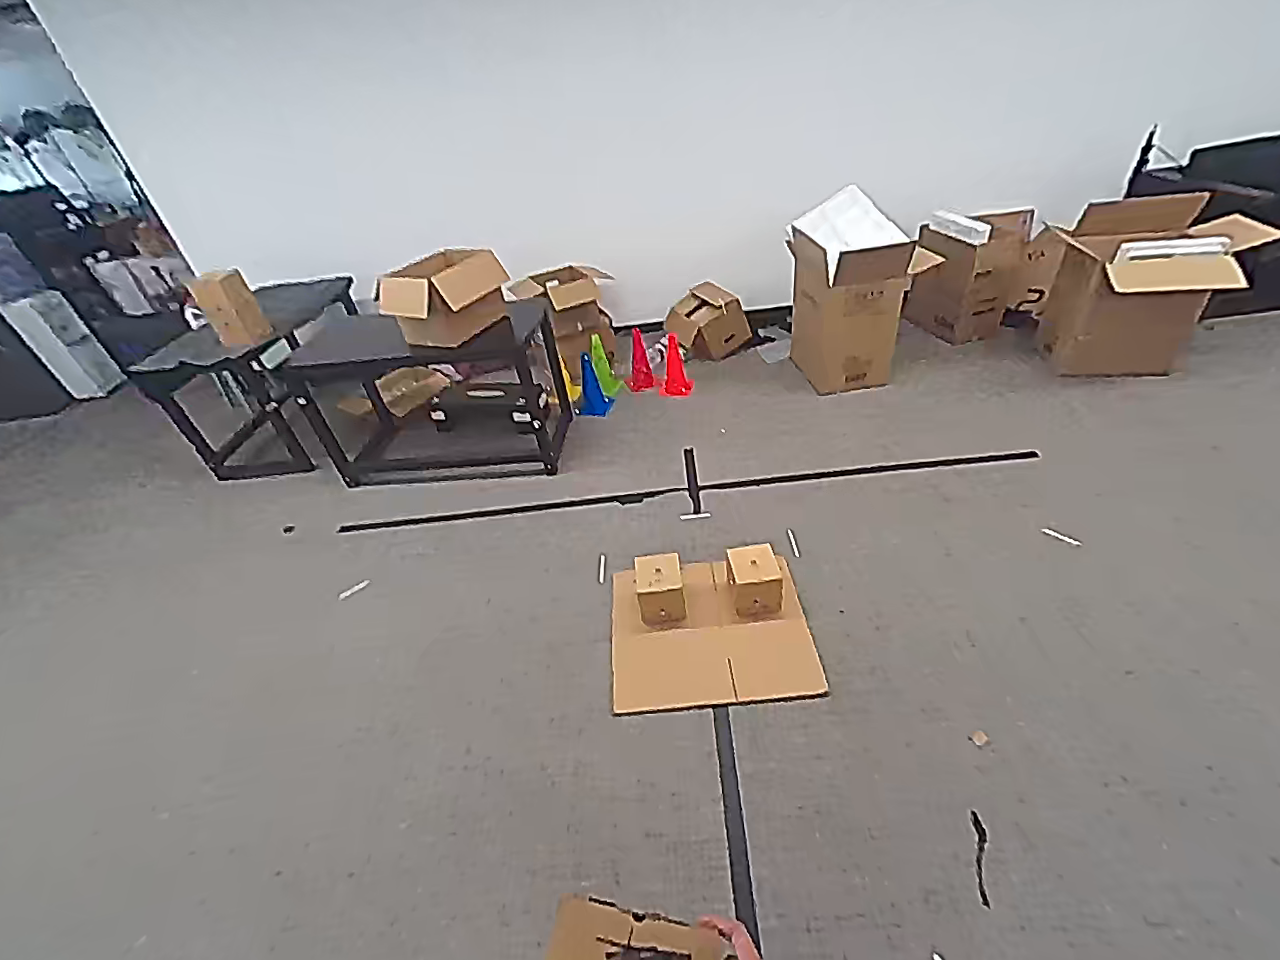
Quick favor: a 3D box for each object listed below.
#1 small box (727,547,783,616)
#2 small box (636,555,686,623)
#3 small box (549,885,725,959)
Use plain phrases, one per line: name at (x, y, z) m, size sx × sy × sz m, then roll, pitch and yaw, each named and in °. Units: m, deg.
small box at (0.419, 0.374, 1.996) m, size 0.168 × 0.176 × 0.179 m, roll -9°, pitch 38°, yaw 0°
small box at (0.076, 0.407, 2.010) m, size 0.168 × 0.176 × 0.179 m, roll -8°, pitch 38°, yaw 3°
small box at (-0.012, 0.541, 0.537) m, size 0.168 × 0.176 × 0.179 m, roll 7°, pitch 46°, yaw 10°
